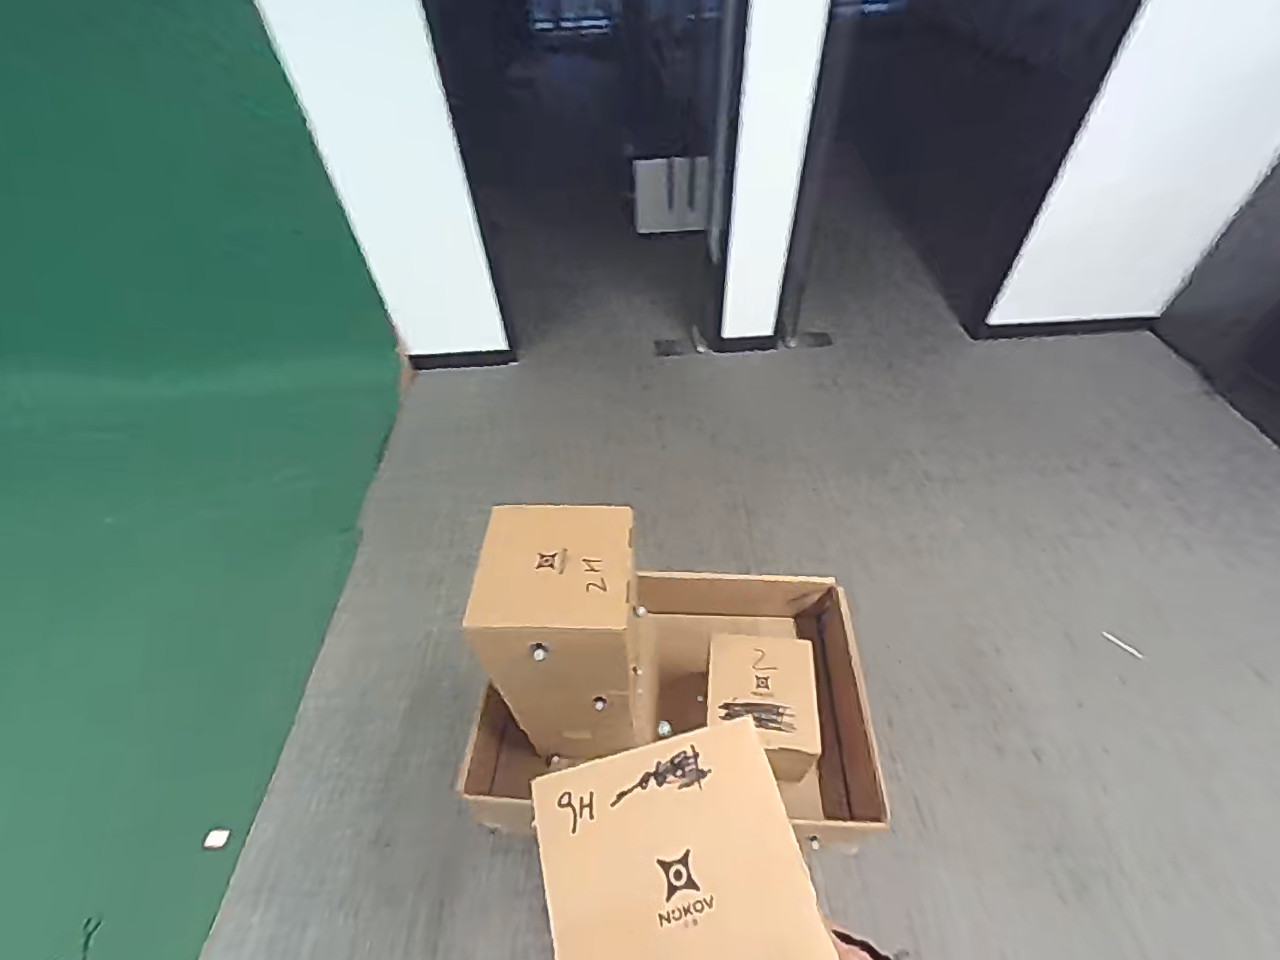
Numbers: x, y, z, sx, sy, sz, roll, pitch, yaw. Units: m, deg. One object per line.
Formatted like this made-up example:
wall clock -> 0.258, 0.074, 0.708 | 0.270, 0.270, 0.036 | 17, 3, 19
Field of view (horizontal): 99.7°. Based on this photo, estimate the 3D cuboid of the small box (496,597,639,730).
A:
small box -> -0.094, 0.258, 0.799 | 0.179, 0.176, 0.168 | 2, 48, 2

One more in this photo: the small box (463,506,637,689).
small box -> -0.096, 0.149, 0.675 | 0.179, 0.176, 0.168 | 1, 49, 2

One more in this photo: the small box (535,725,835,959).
small box -> 0.026, 0.306, 0.407 | 0.168, 0.176, 0.179 | -12, 59, -9
